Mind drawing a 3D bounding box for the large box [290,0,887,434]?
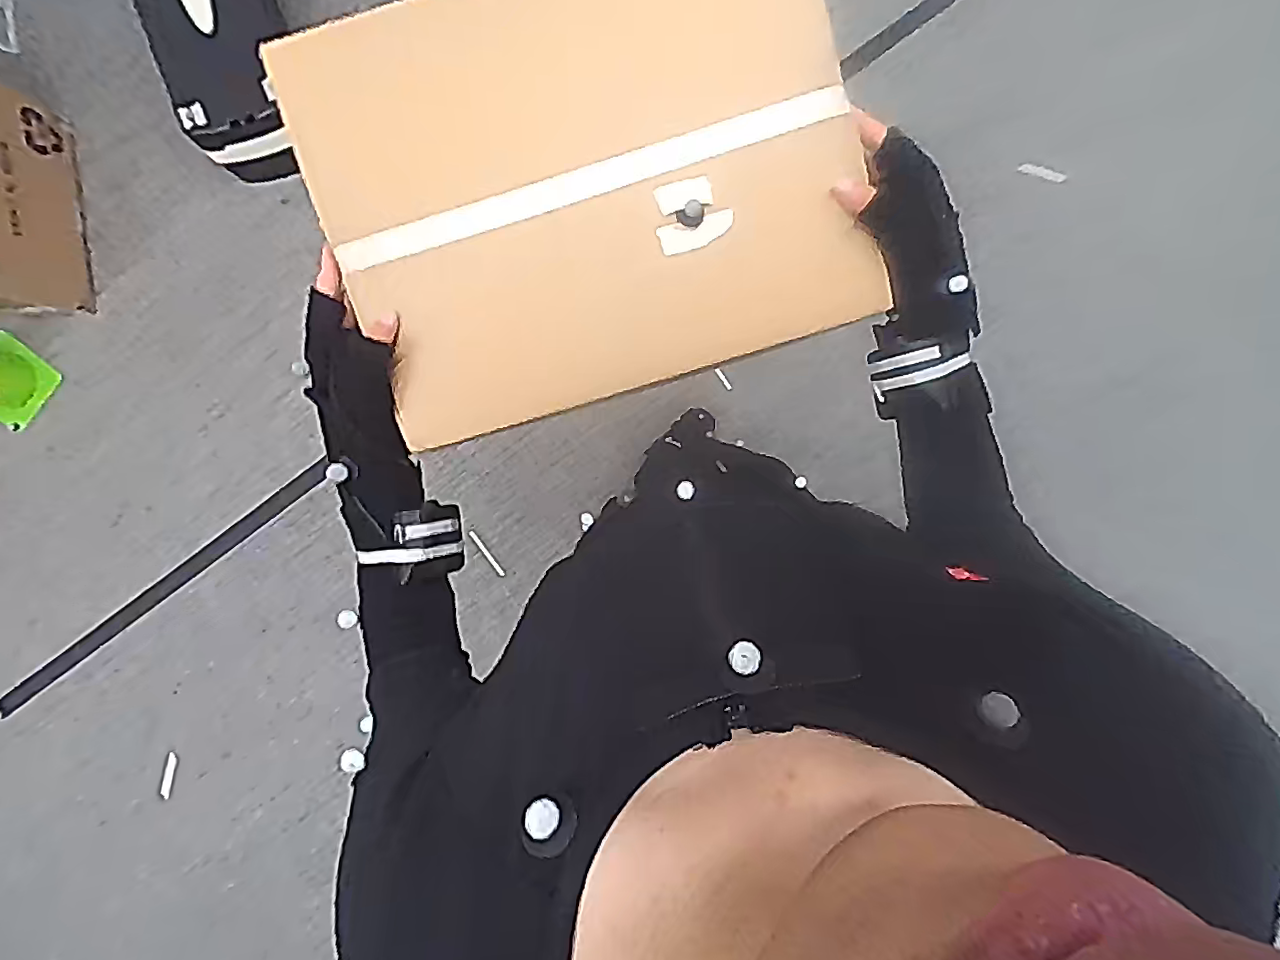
[{"bbox_3d":[-0.036,-0.257,0.565,0.408,0.320,0.320,-16,99,1],"label":"large box"}]
